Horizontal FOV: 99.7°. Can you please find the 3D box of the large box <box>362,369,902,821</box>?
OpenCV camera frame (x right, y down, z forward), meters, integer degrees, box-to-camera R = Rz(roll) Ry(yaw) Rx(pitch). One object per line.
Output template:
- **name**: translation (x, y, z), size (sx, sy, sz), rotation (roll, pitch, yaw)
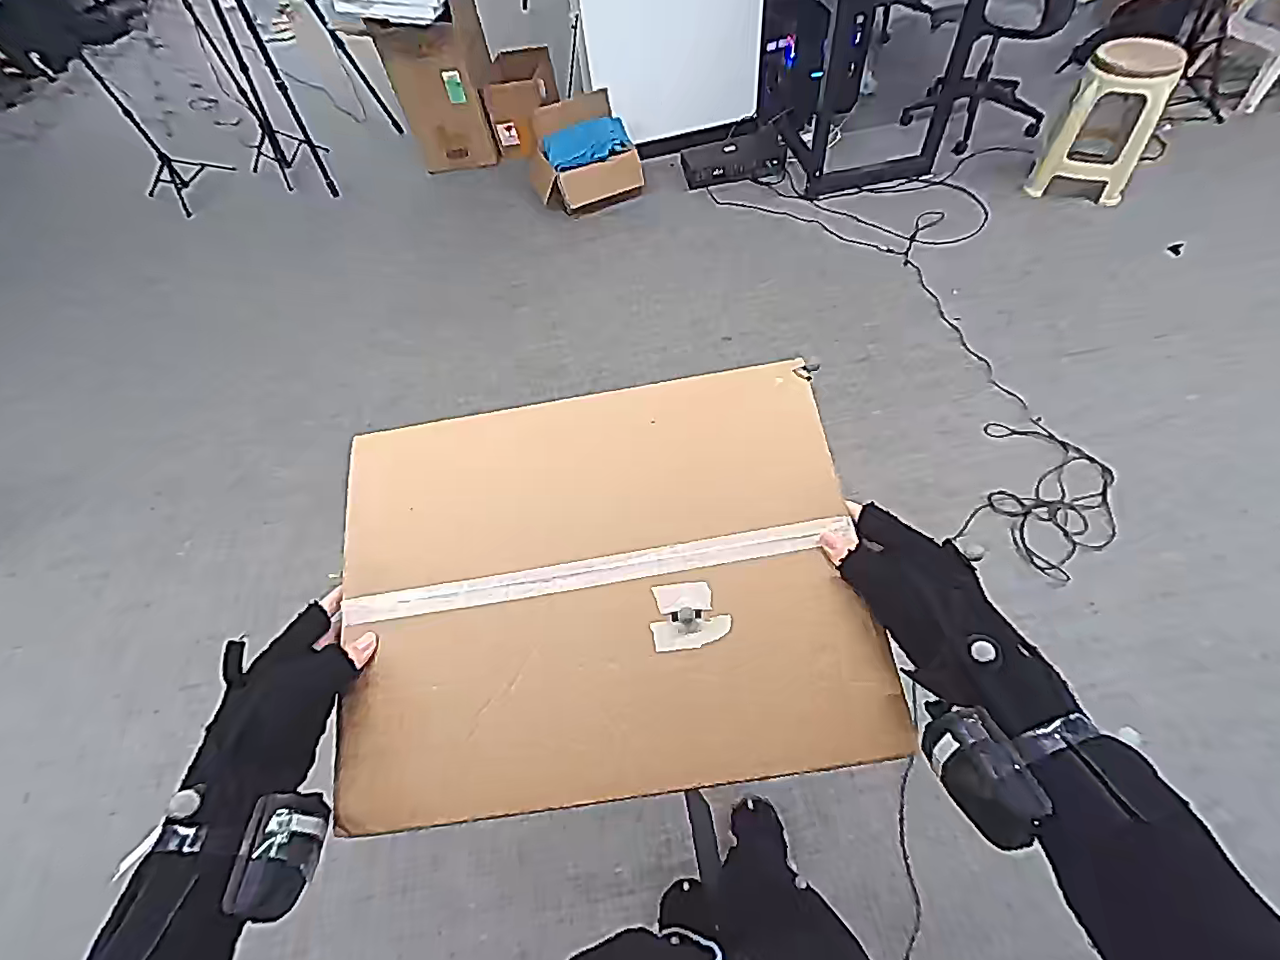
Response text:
- **large box**: translation (-0.018, 0.127, 0.579), size (0.408, 0.320, 0.320), rotation (-10, 69, 2)
